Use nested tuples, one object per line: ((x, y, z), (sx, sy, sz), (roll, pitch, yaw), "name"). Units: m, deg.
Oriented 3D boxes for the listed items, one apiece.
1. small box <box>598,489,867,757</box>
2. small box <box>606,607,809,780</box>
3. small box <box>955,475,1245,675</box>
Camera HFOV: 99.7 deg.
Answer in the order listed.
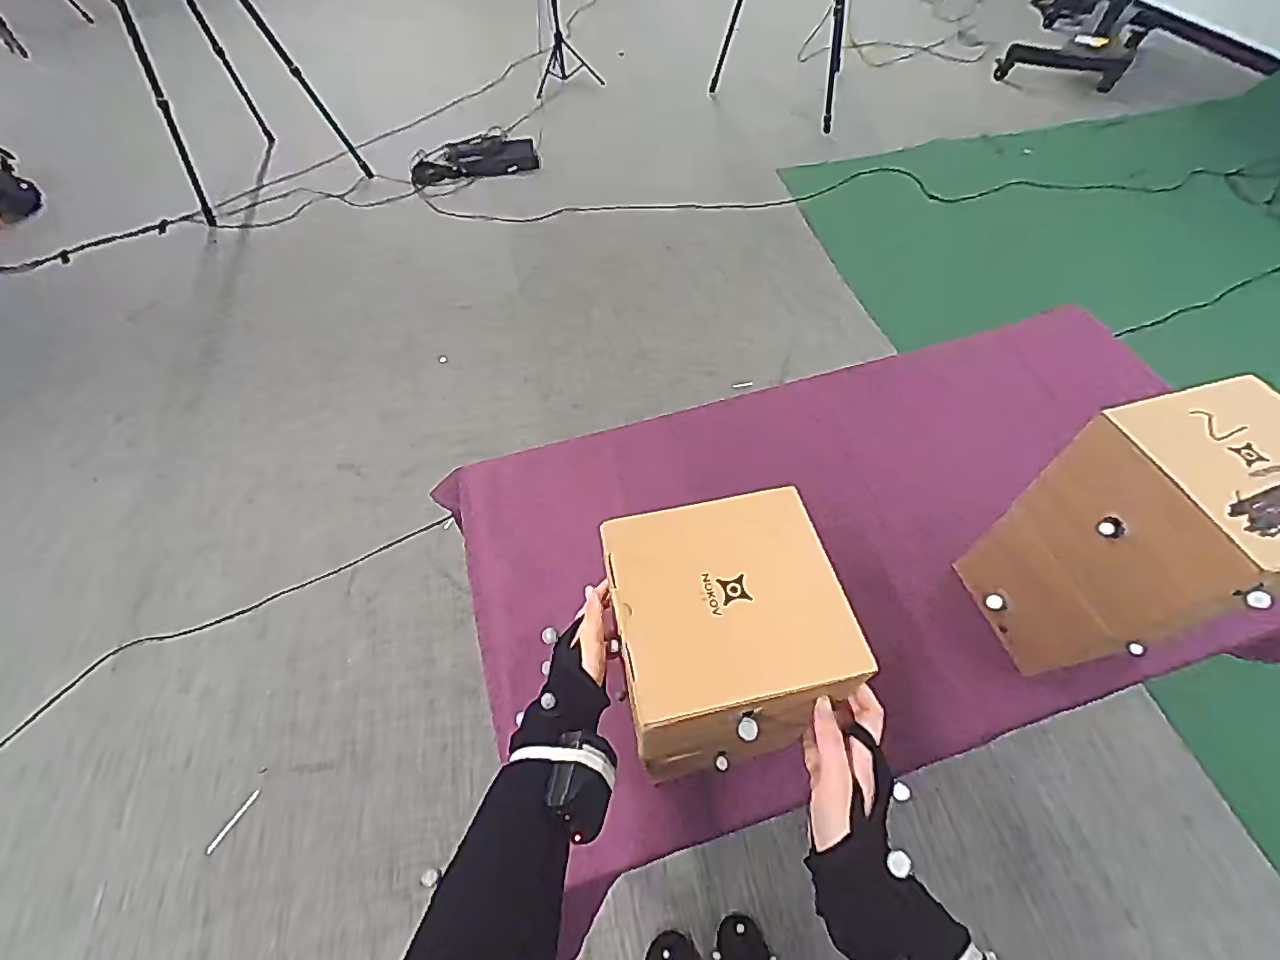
((0.066, 0.134, 0.487), (0.179, 0.176, 0.168), (-12, 55, -5), "small box")
((0.069, 0.230, 0.622), (0.179, 0.176, 0.168), (-13, 56, -5), "small box")
((0.540, 0.122, 0.669), (0.179, 0.176, 0.168), (-14, 55, -5), "small box")
